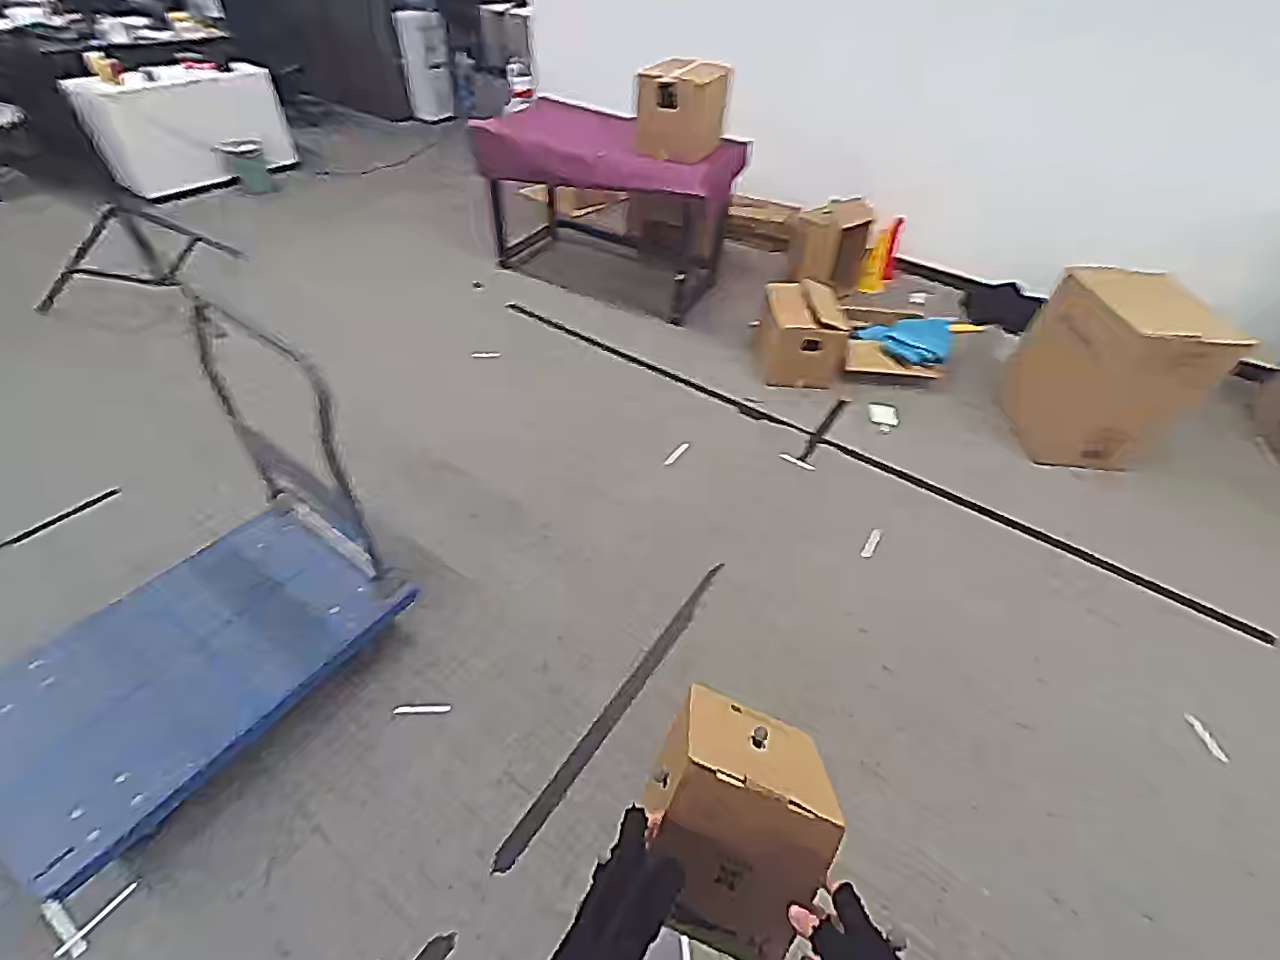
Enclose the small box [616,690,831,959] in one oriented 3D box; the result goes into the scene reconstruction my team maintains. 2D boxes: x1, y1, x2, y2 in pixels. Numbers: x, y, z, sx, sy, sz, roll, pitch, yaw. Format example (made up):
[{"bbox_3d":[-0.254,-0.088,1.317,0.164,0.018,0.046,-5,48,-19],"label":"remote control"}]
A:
[{"bbox_3d":[0.086,0.371,0.611,0.168,0.179,0.176,22,4,4],"label":"small box"}]
